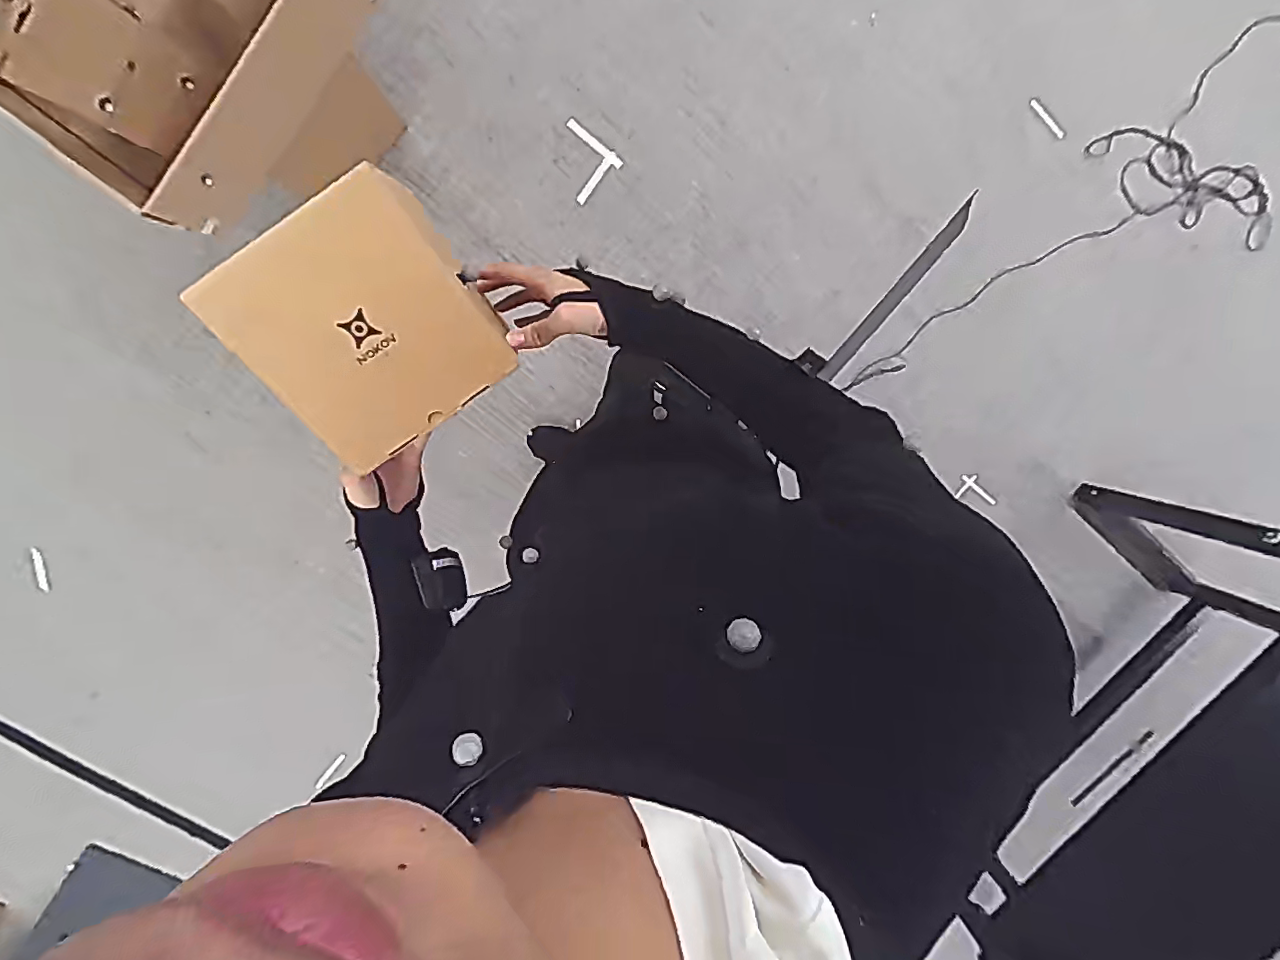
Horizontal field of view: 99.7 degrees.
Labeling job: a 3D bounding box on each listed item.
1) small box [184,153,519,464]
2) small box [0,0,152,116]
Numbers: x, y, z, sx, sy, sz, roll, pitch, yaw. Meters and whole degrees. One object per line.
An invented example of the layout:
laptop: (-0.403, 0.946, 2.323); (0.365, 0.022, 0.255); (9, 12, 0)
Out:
small box: (-0.228, -0.149, 0.483); (0.168, 0.176, 0.179); (-34, 117, 2)
small box: (-0.860, -0.657, 0.759); (0.179, 0.176, 0.168); (35, 98, -9)
